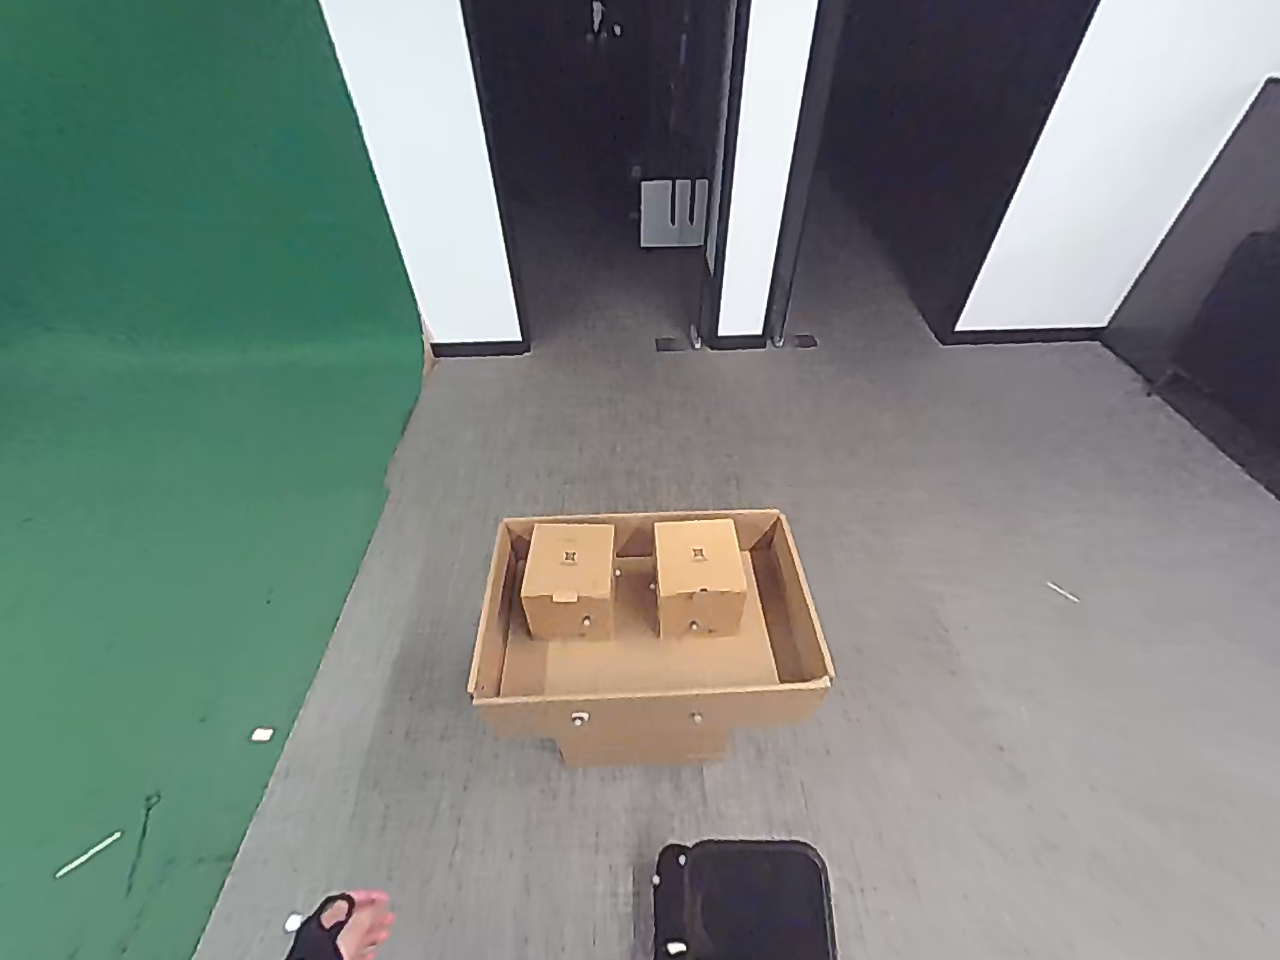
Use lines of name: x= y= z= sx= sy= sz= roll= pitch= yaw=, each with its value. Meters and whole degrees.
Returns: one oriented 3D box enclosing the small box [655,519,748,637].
small box: x=0.117 y=0.201 z=1.106 sx=0.168 sy=0.176 sz=0.179 roll=-3 pitch=46 yaw=0
